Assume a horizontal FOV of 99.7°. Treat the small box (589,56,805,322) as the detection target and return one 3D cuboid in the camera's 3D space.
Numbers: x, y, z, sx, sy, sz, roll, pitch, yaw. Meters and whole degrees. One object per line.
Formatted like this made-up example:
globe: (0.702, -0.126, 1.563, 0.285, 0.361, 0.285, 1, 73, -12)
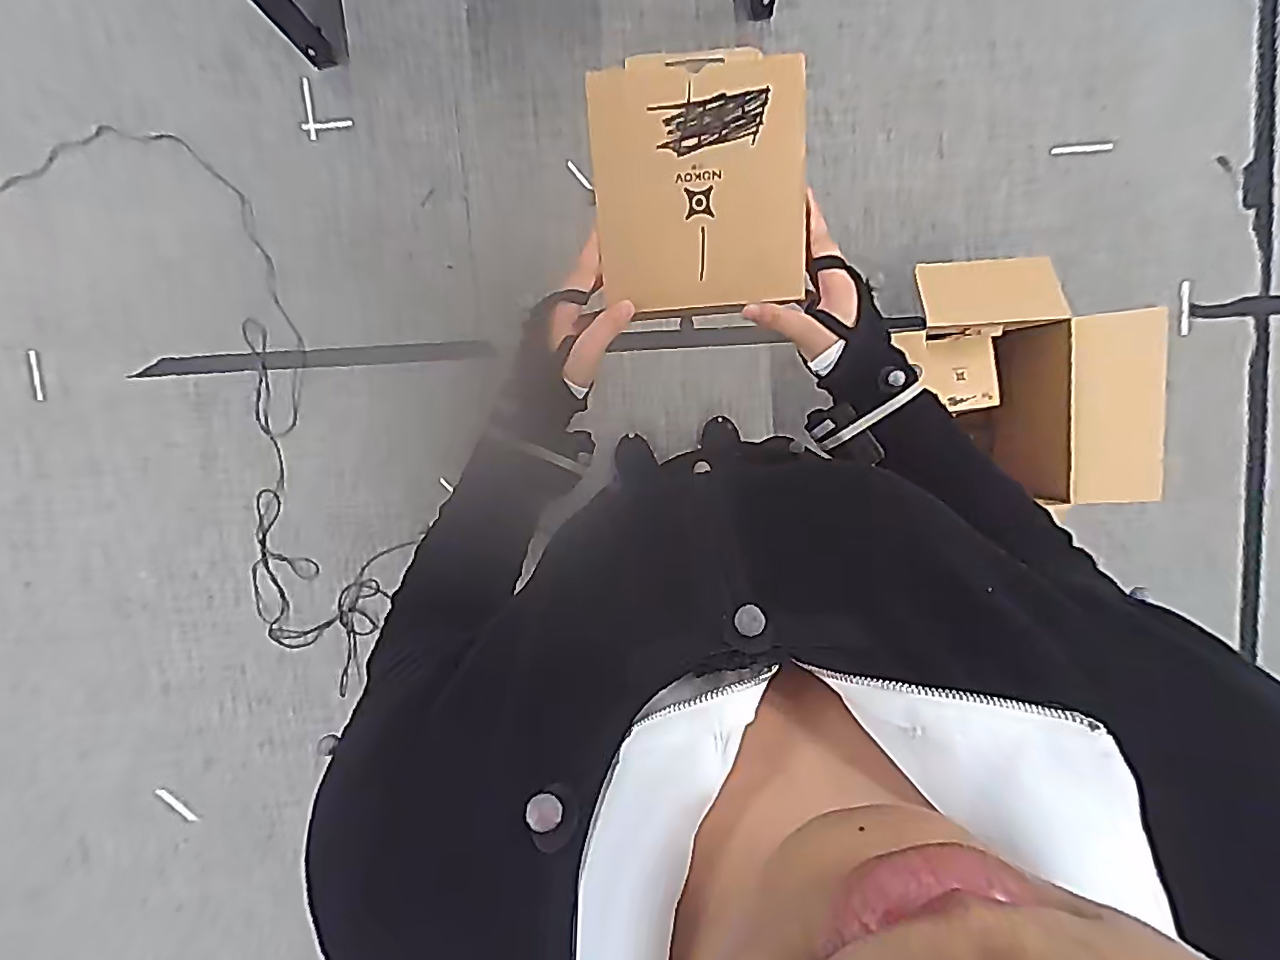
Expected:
small box: (0.045, -0.245, 0.498, 0.168, 0.176, 0.179, -4, 105, 1)
